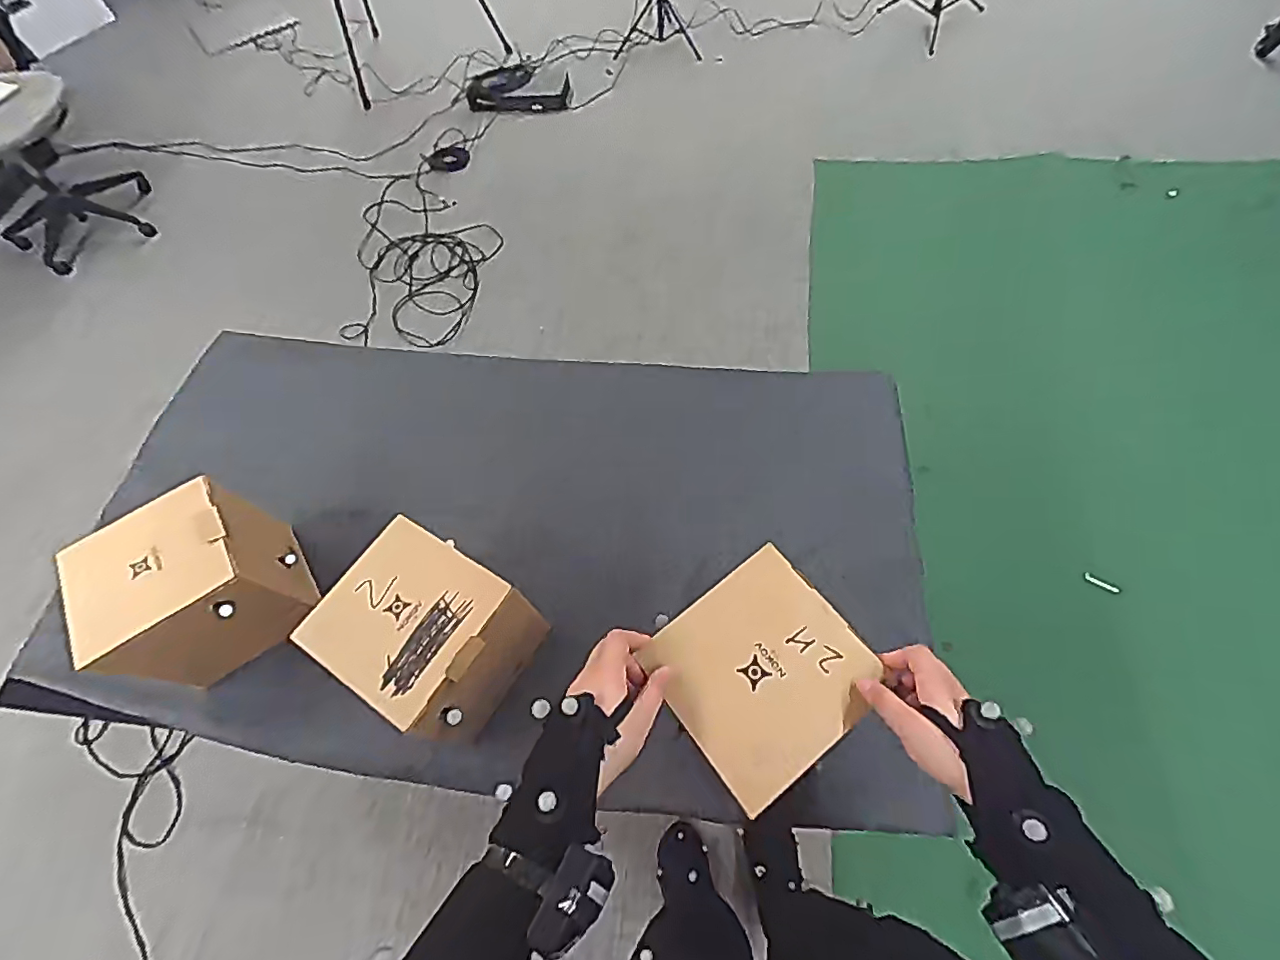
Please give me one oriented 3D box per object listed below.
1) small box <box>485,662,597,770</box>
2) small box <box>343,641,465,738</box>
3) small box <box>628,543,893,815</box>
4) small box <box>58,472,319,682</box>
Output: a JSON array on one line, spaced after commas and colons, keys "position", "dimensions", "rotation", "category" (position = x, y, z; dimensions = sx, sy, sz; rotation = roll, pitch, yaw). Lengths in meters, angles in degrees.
[{"position": [-0.219, 0.546, 1.250], "dimensions": [0.179, 0.176, 0.168], "rotation": [21, 65, 18], "category": "small box"}, {"position": [-0.559, 0.511, 1.303], "dimensions": [0.179, 0.176, 0.168], "rotation": [15, 65, 14], "category": "small box"}, {"position": [0.111, 0.198, 0.551], "dimensions": [0.179, 0.176, 0.168], "rotation": [-36, 69, -11], "category": "small box"}, {"position": [-0.553, 0.129, 0.679], "dimensions": [0.179, 0.176, 0.168], "rotation": [-34, 64, -12], "category": "small box"}]
